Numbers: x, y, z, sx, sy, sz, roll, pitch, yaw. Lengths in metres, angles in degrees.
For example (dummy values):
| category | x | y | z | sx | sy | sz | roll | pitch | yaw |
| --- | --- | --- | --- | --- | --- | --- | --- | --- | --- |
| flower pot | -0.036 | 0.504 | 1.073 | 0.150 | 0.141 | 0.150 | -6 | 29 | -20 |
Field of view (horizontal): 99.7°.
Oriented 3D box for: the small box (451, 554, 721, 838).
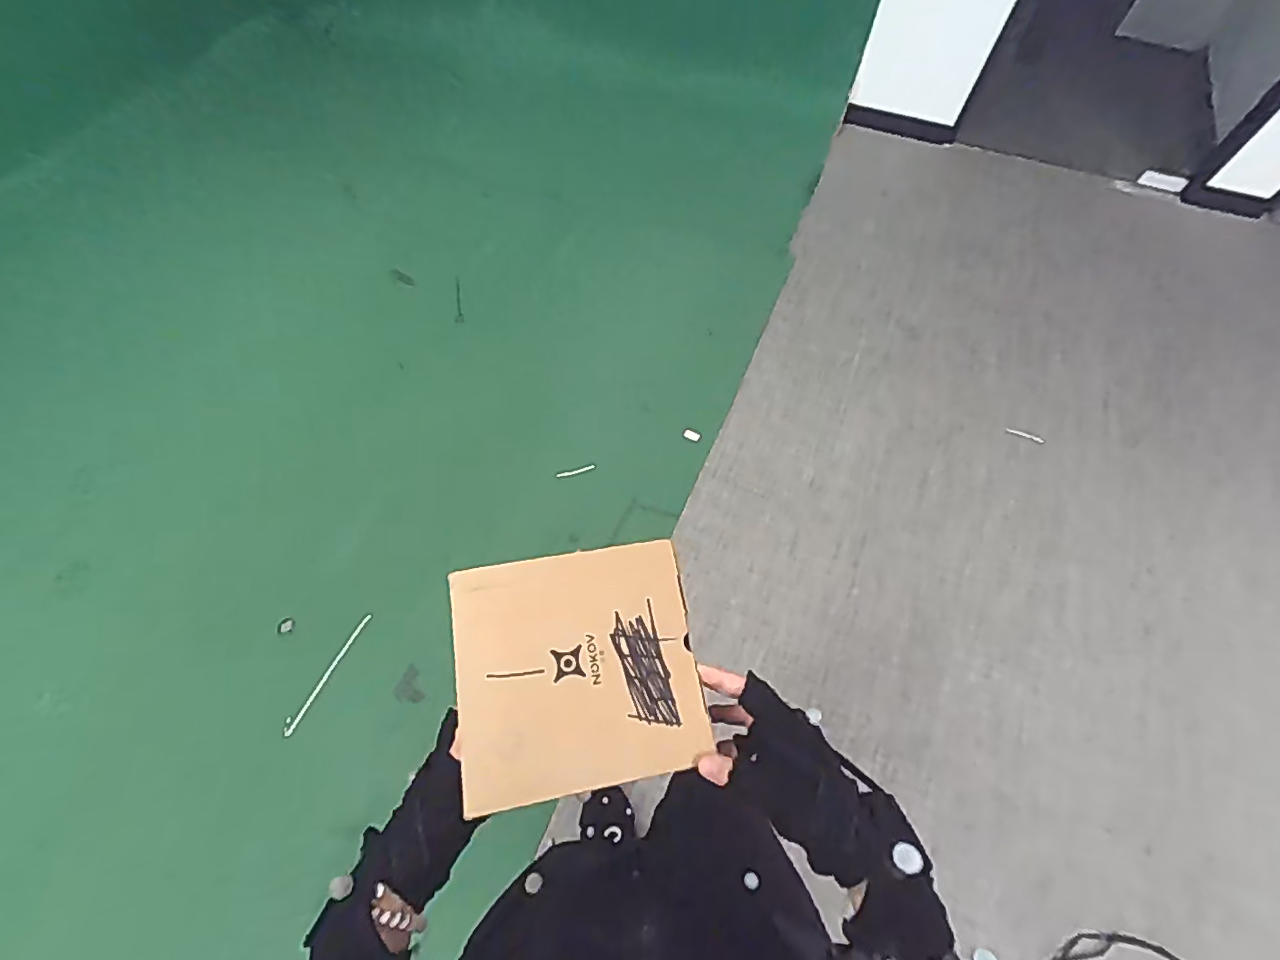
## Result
| category | x | y | z | sx | sy | sz | roll | pitch | yaw |
| --- | --- | --- | --- | --- | --- | --- | --- | --- | --- |
| small box | -0.051 | 0.171 | 0.454 | 0.179 | 0.176 | 0.168 | -7 | 68 | -10 |
